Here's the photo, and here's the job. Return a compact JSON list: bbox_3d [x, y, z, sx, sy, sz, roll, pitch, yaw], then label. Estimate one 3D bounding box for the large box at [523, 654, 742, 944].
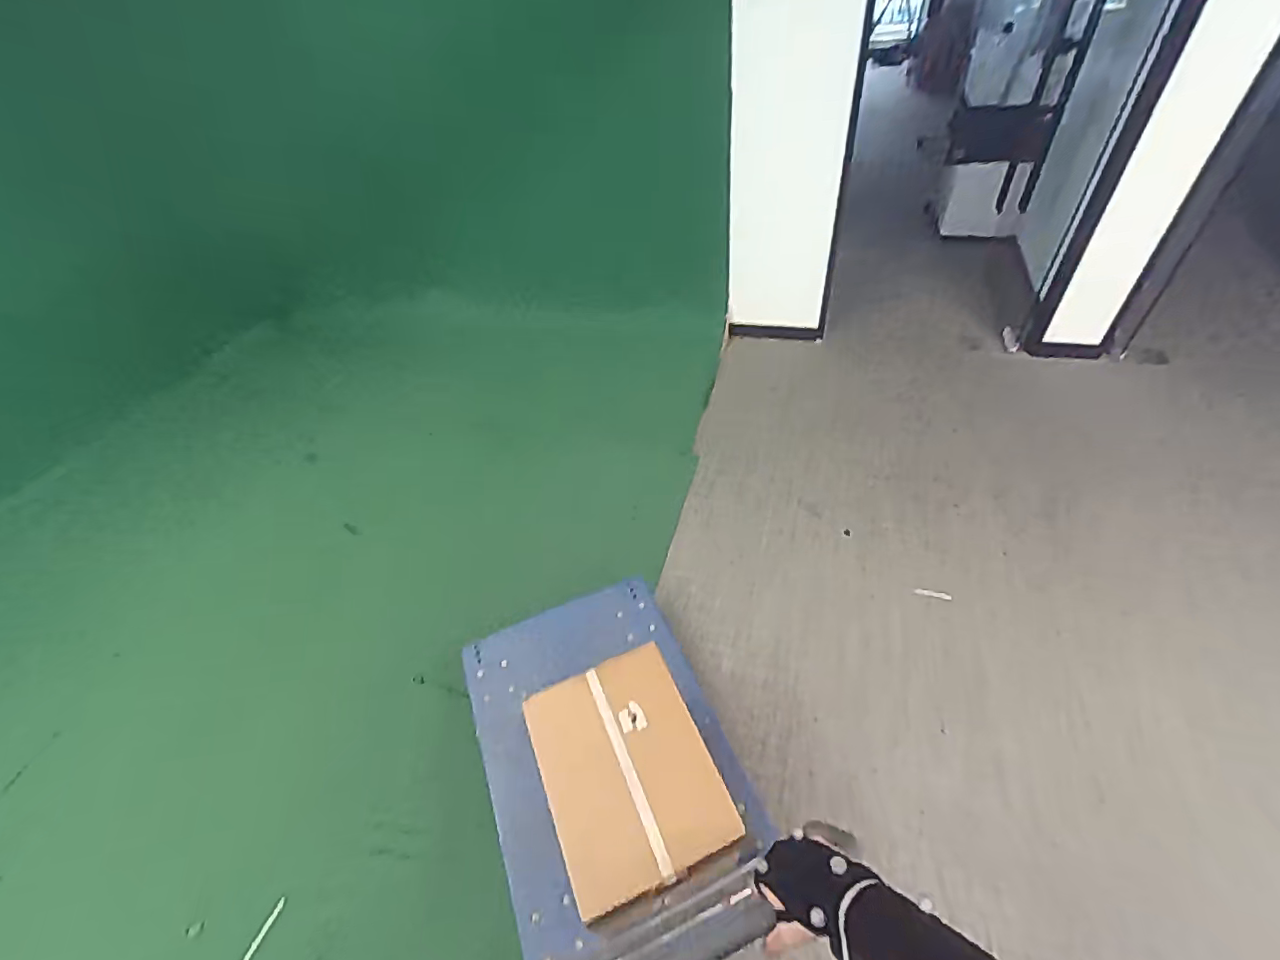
[{"bbox_3d":[-0.017,0.673,1.164,0.320,0.320,0.408,-20,46,-13],"label":"large box"}]
